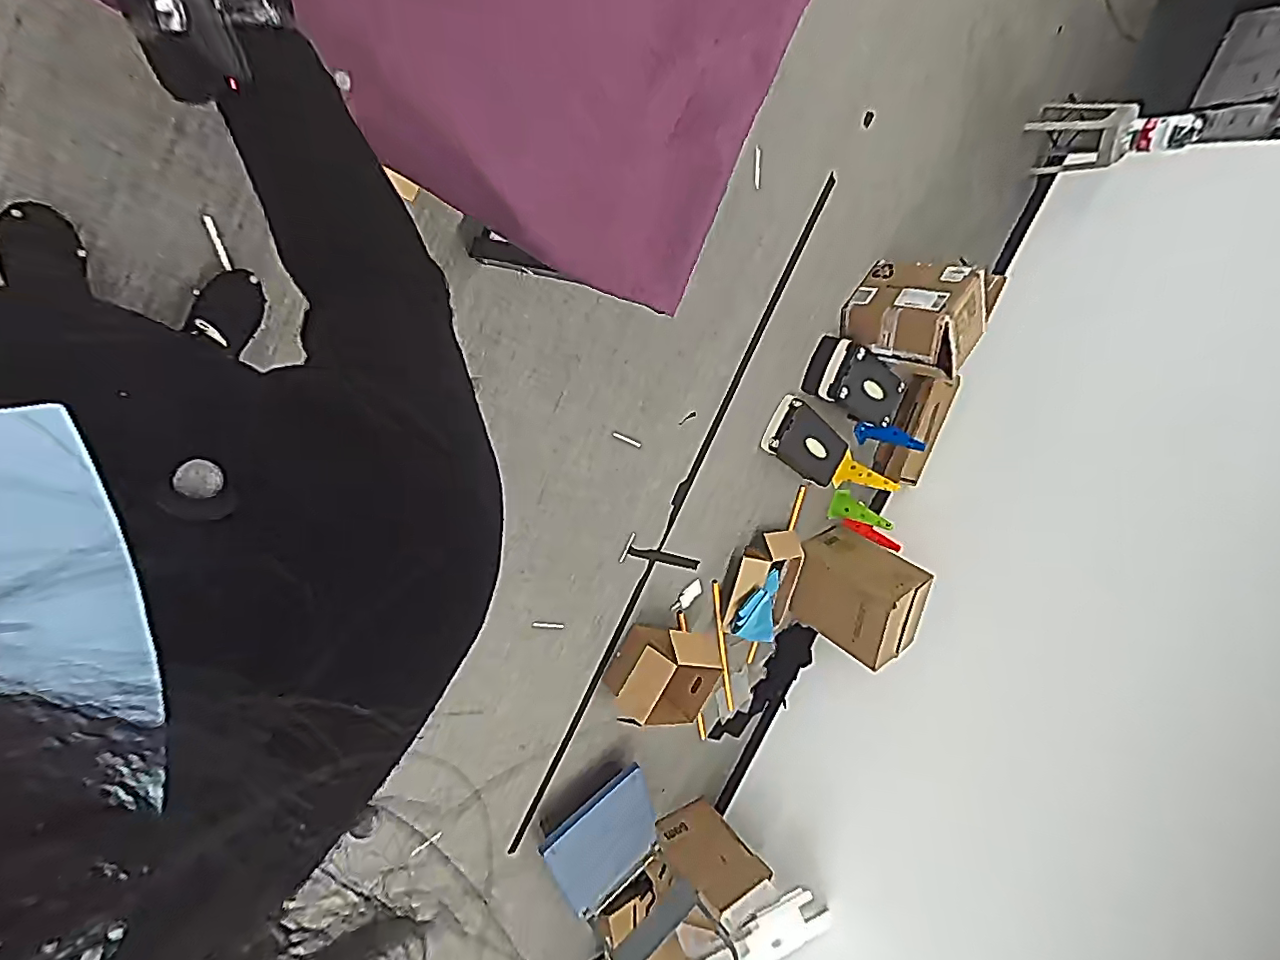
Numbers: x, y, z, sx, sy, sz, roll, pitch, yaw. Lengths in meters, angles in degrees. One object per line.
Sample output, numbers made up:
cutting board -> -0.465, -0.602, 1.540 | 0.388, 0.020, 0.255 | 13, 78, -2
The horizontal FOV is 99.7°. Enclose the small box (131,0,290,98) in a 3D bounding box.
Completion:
small box -> -0.740, -0.801, 0.933 | 0.168, 0.176, 0.179 | 20, 97, -47
